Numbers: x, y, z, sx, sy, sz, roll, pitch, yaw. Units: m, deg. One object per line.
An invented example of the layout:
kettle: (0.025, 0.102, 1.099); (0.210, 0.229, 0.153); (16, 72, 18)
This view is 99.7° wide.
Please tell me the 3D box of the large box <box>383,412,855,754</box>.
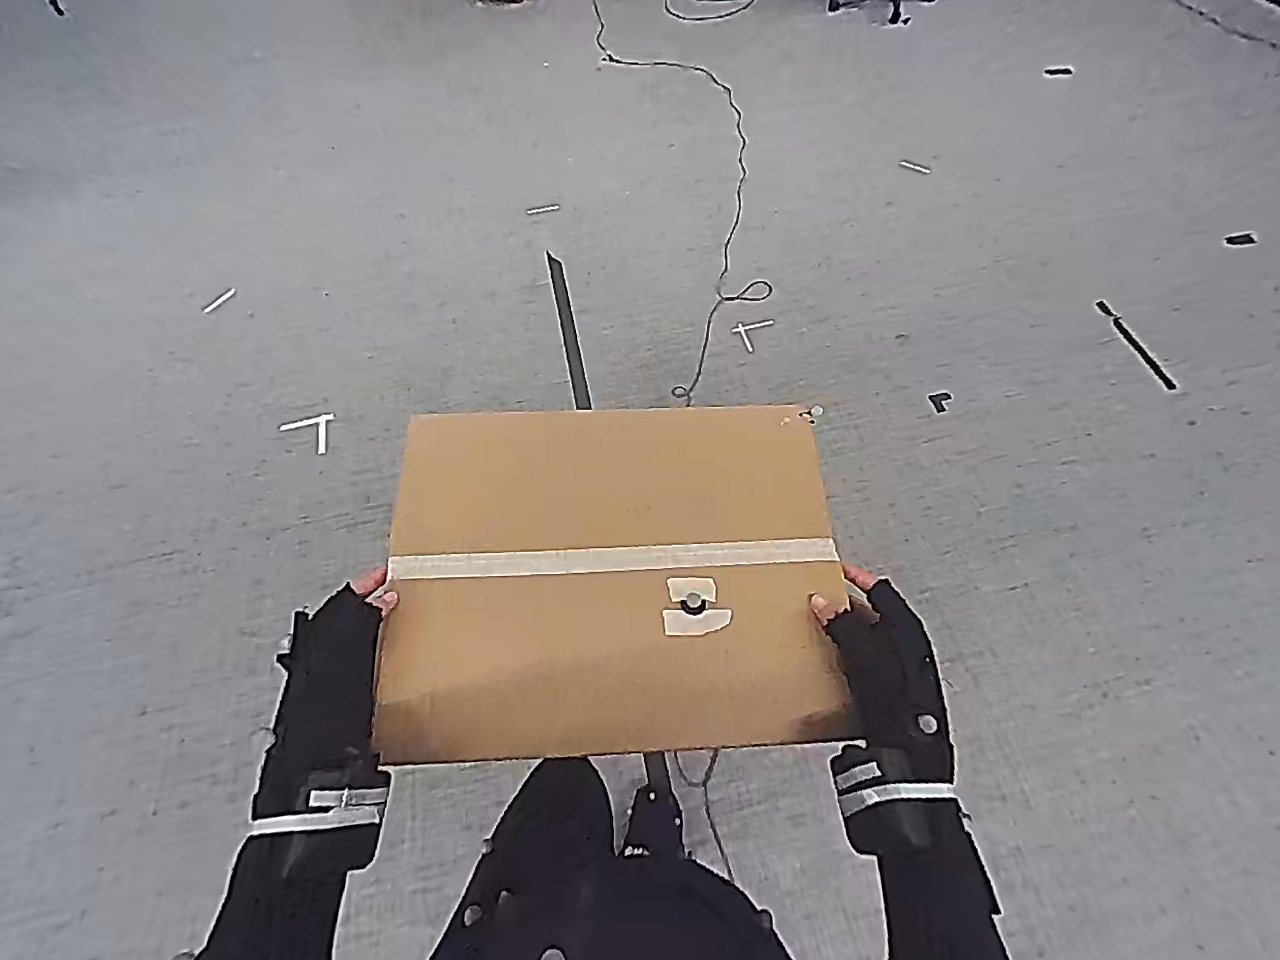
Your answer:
large box: (-0.027, 0.134, 0.644); (0.408, 0.320, 0.320); (-2, 67, -2)
